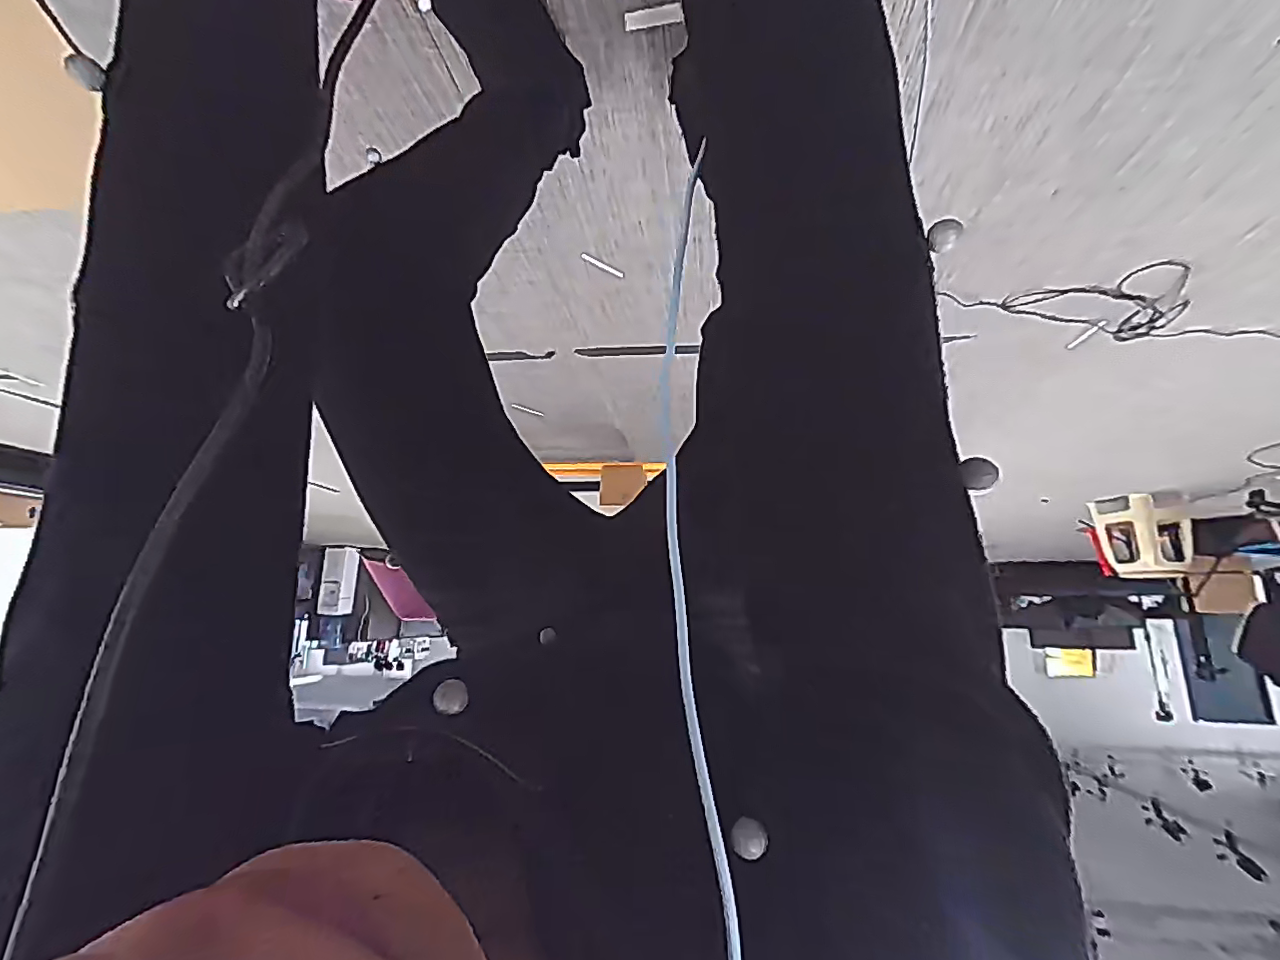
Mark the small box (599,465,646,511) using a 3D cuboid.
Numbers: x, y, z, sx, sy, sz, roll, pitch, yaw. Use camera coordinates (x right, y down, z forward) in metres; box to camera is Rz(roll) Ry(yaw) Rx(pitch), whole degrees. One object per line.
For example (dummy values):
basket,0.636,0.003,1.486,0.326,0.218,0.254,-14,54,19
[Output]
small box,-0.070,0.035,2.298,0.179,0.176,0.168,-1,167,9
